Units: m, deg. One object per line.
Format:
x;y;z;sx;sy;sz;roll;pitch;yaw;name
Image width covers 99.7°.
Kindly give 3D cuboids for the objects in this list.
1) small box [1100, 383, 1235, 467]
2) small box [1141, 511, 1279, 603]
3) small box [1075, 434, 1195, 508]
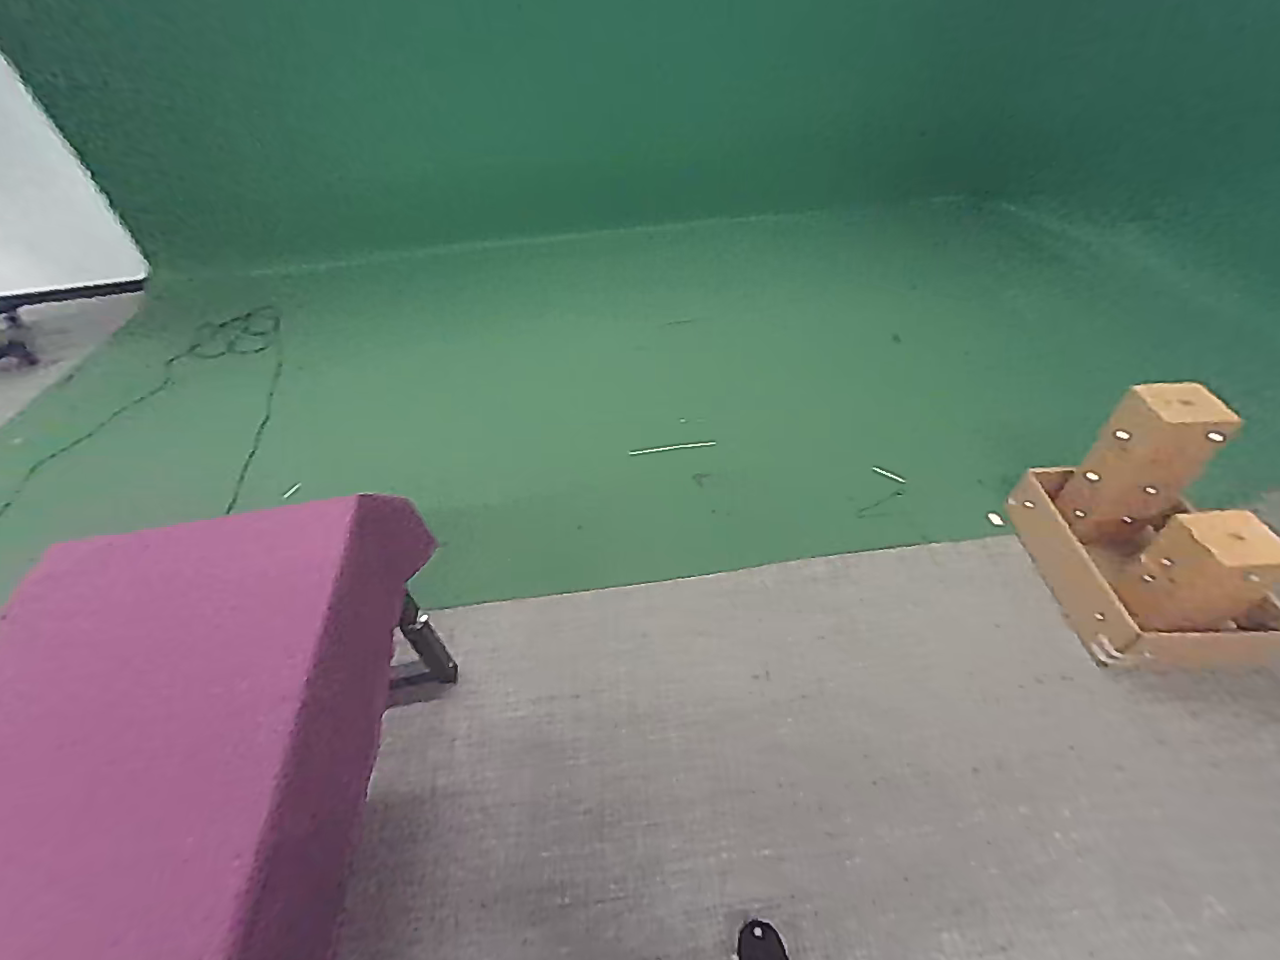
1.438;-0.148;1.491;0.179;0.176;0.168;-2;45;6;small box
1.450;0.196;1.370;0.179;0.176;0.168;-4;44;5;small box
1.454;-0.029;1.603;0.179;0.176;0.168;0;46;7;small box
